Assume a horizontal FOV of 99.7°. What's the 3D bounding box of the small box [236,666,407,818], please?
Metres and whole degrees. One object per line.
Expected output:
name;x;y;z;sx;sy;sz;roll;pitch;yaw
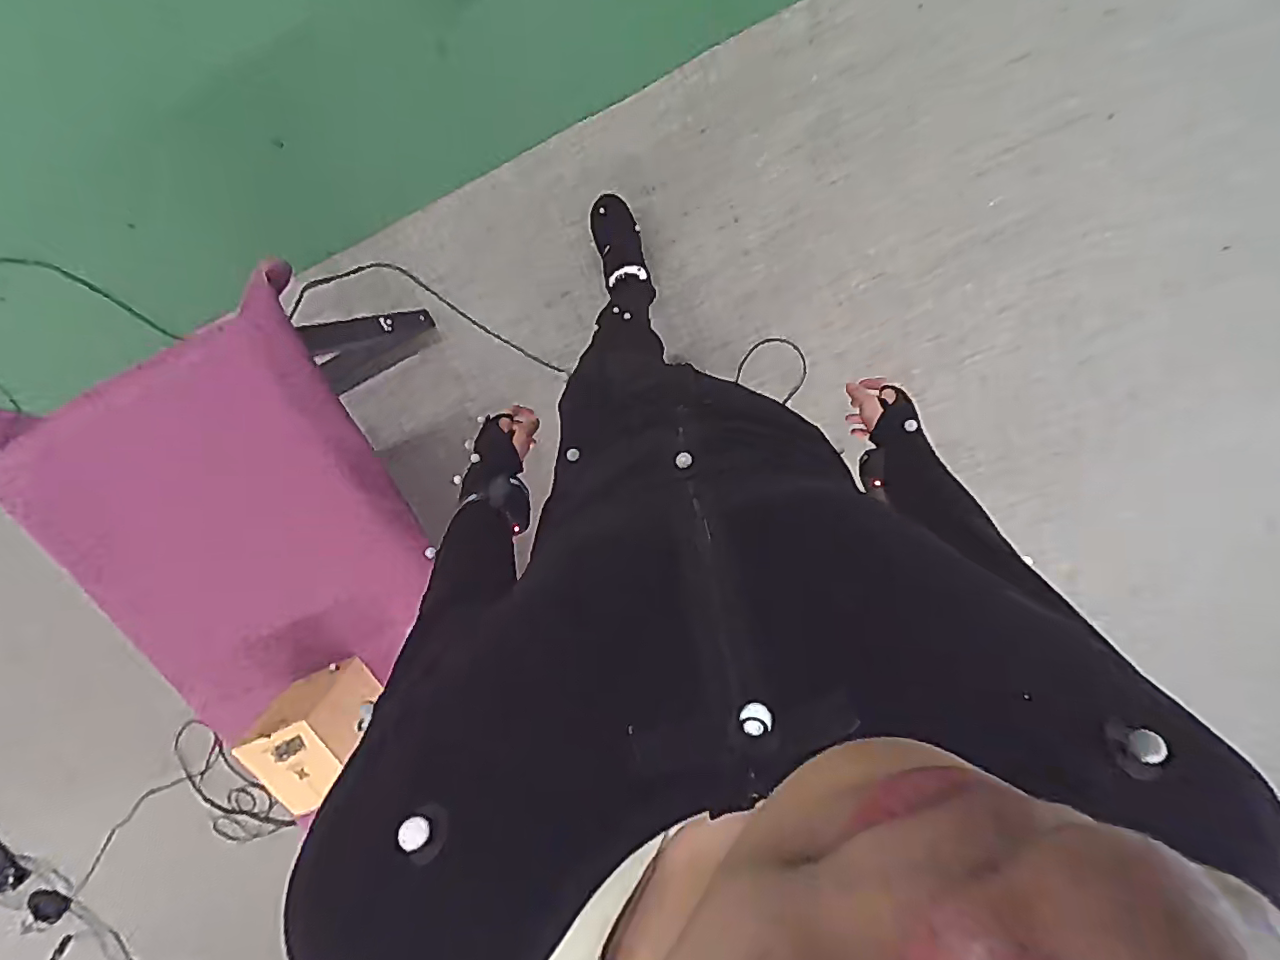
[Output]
small box;-0.576;0.473;1.002;0.168;0.176;0.179;-24;108;12
